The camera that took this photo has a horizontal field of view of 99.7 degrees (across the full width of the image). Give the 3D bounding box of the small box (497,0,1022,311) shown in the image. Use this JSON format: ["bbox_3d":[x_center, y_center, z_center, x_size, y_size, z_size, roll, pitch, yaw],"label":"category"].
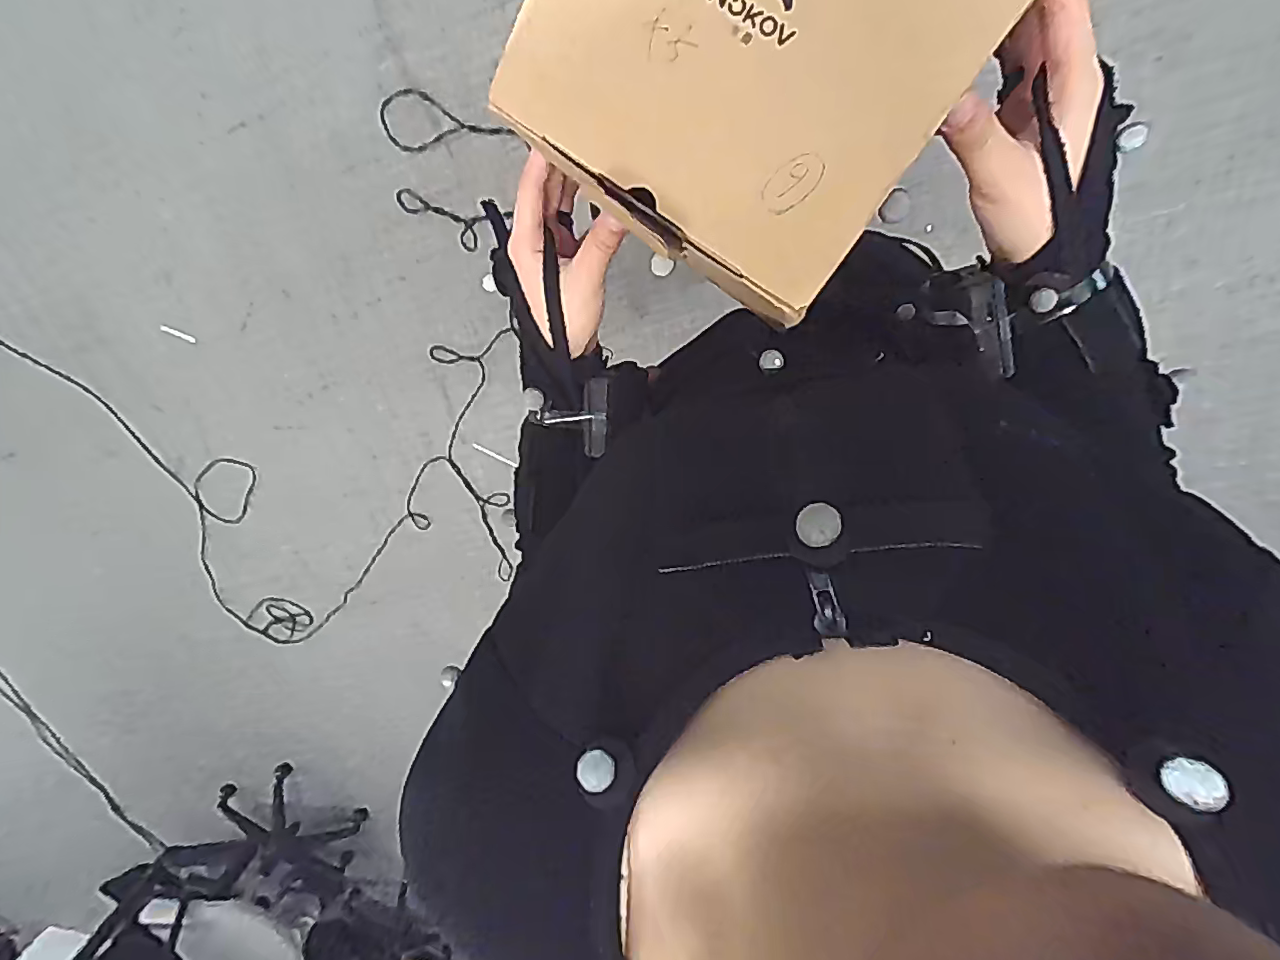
[{"bbox_3d":[0.066,-0.205,0.280,0.168,0.176,0.179,36,109,2],"label":"small box"}]
